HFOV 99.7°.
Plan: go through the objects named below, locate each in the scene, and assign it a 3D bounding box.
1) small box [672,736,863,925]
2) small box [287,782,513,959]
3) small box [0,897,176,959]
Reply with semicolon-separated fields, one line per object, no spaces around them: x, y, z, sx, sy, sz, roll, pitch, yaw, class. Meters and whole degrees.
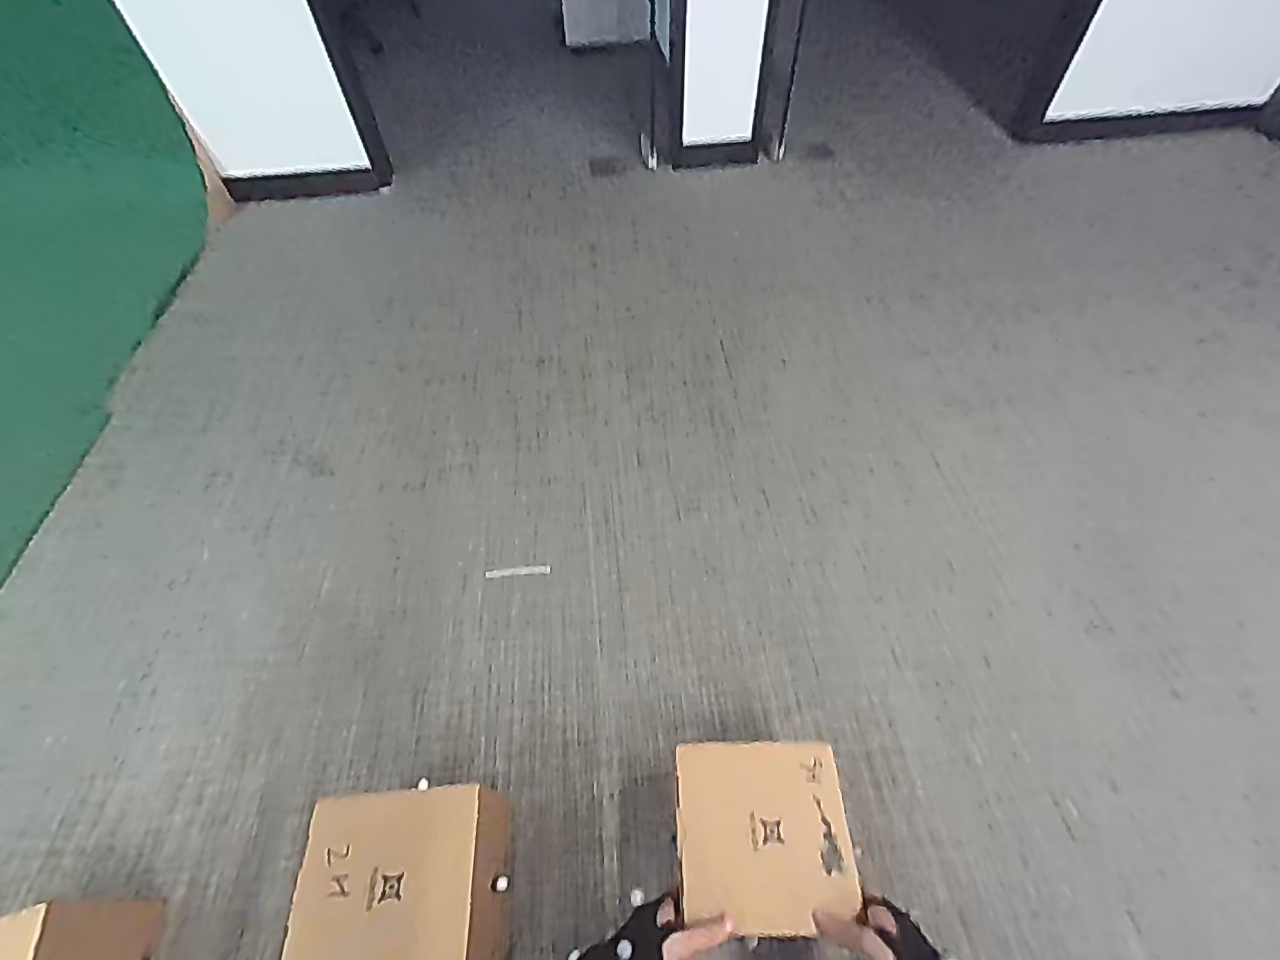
0.127;0.402;0.619;0.179;0.176;0.168;-1;52;2;small box
-0.244;0.445;0.598;0.179;0.176;0.168;-5;52;-2;small box
-0.625;0.544;0.535;0.179;0.176;0.168;-15;54;-10;small box
